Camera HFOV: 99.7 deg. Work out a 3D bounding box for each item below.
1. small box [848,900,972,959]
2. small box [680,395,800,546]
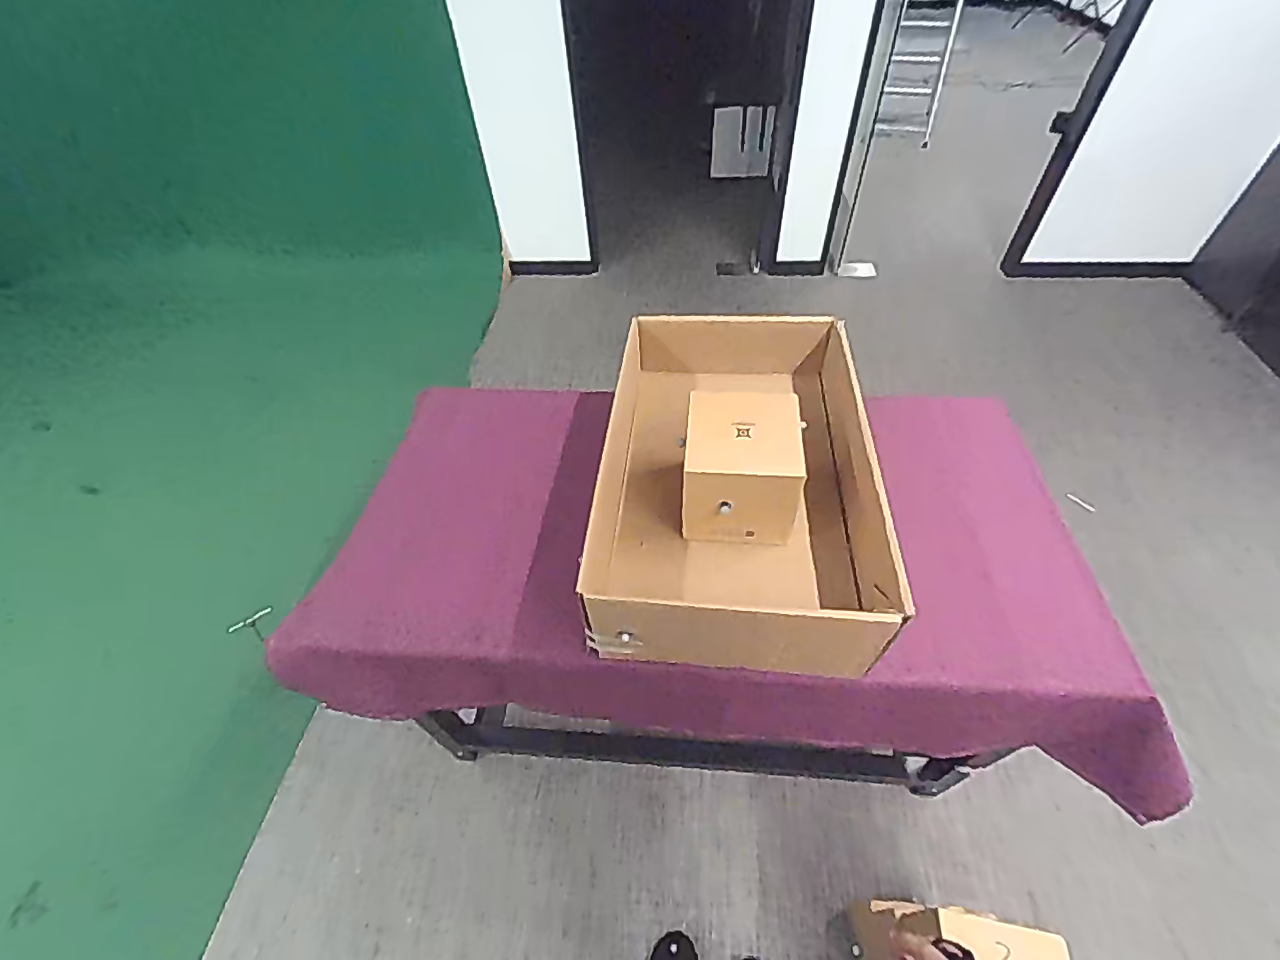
[{"bbox_3d":[0.521,0.925,1.043,0.179,0.176,0.168,0,49,6],"label":"small box"},{"bbox_3d":[0.152,-0.013,0.847,0.168,0.176,0.179,2,48,7],"label":"small box"}]
